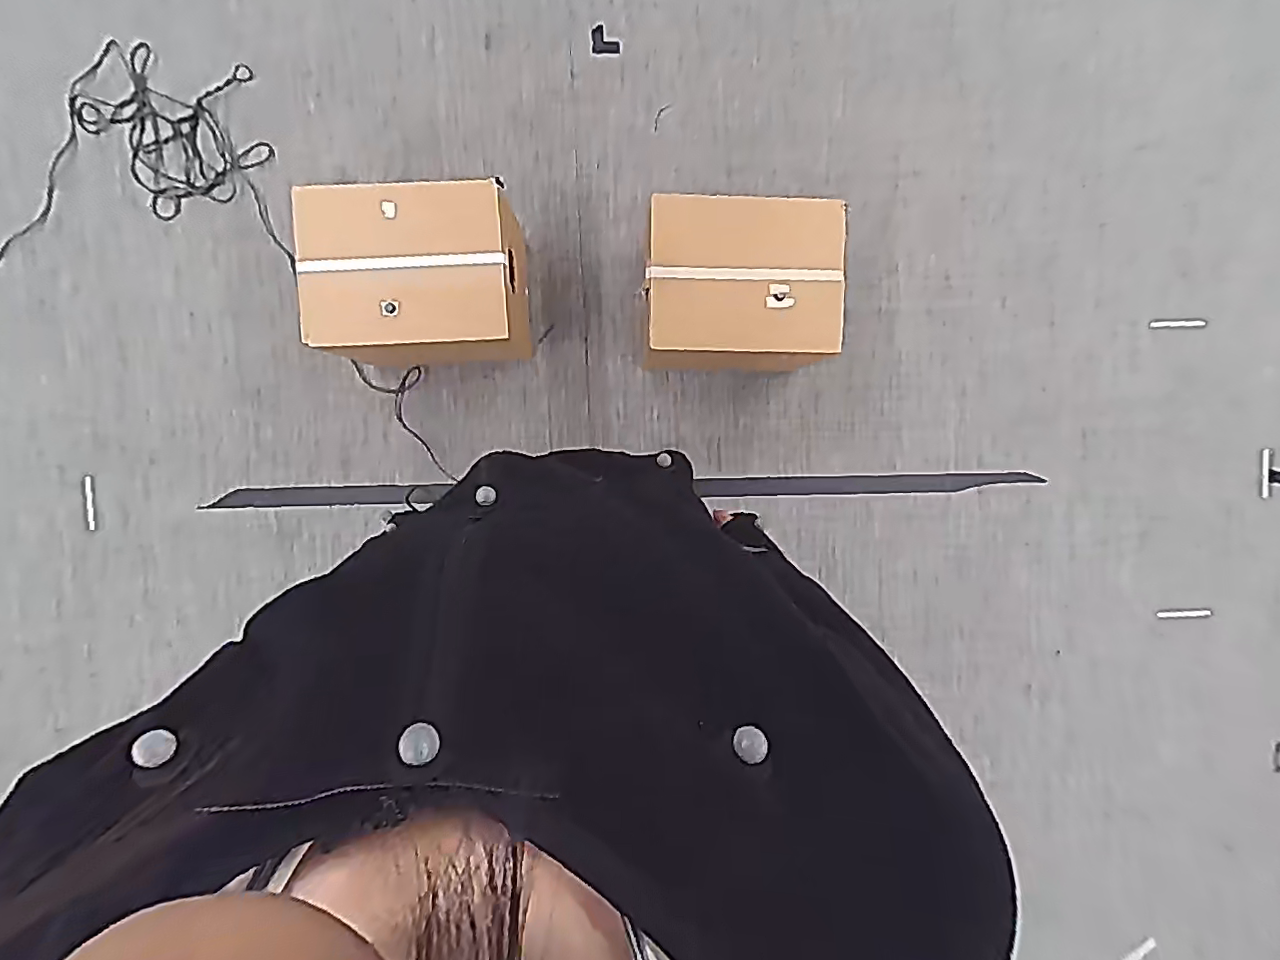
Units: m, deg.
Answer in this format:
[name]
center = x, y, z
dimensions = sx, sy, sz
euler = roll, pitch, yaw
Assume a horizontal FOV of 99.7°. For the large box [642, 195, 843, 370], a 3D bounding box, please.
[large box]
center = 0.213, -0.434, 1.267
dimensions = 0.408, 0.320, 0.320
euler = 1, 94, -4
